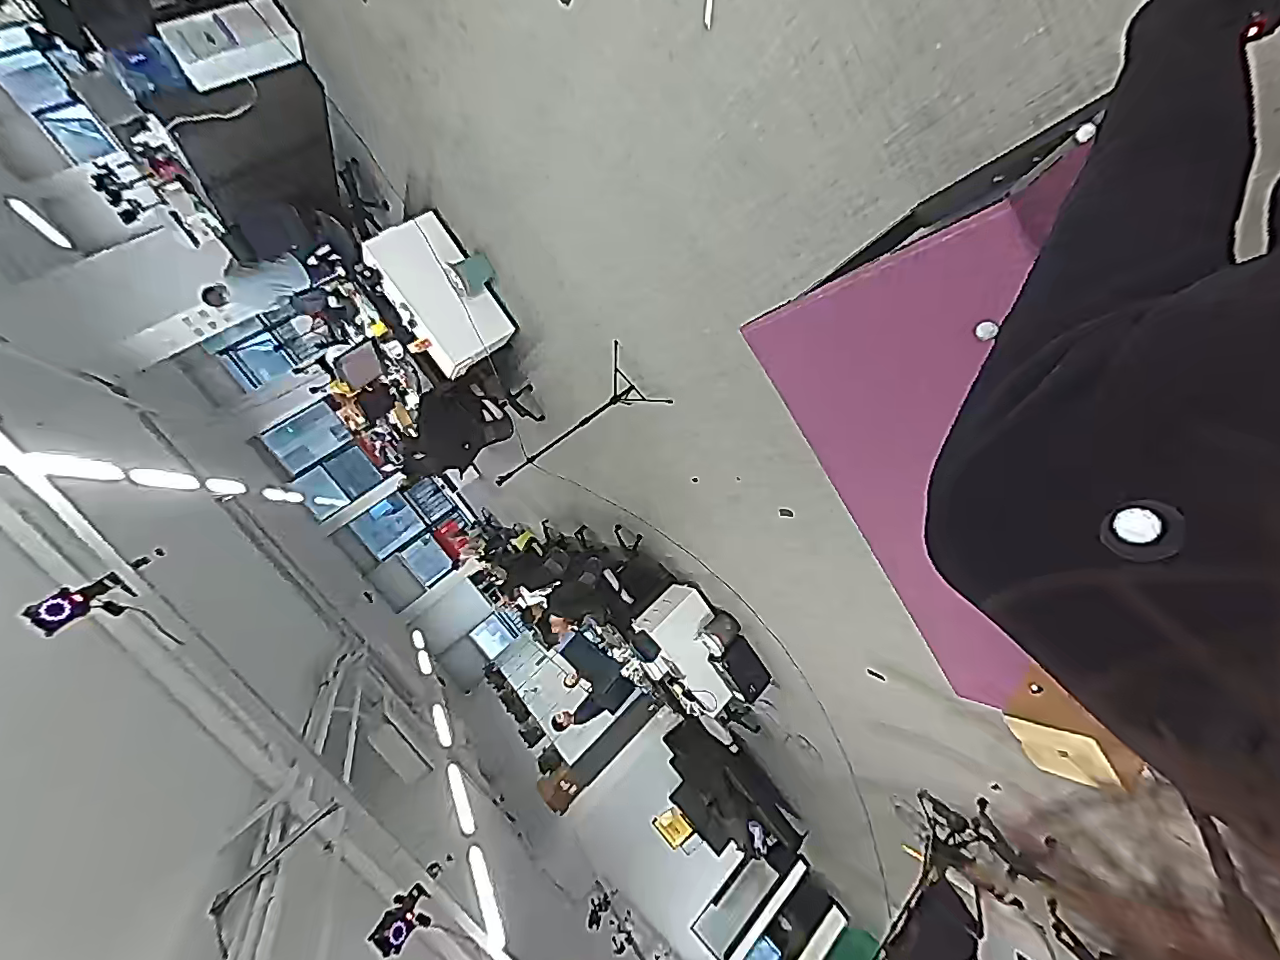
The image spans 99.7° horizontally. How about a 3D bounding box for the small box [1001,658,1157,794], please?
[{"bbox_3d":[0.913,0.498,1.127,0.168,0.176,0.179,54,158,-10],"label":"small box"}]
